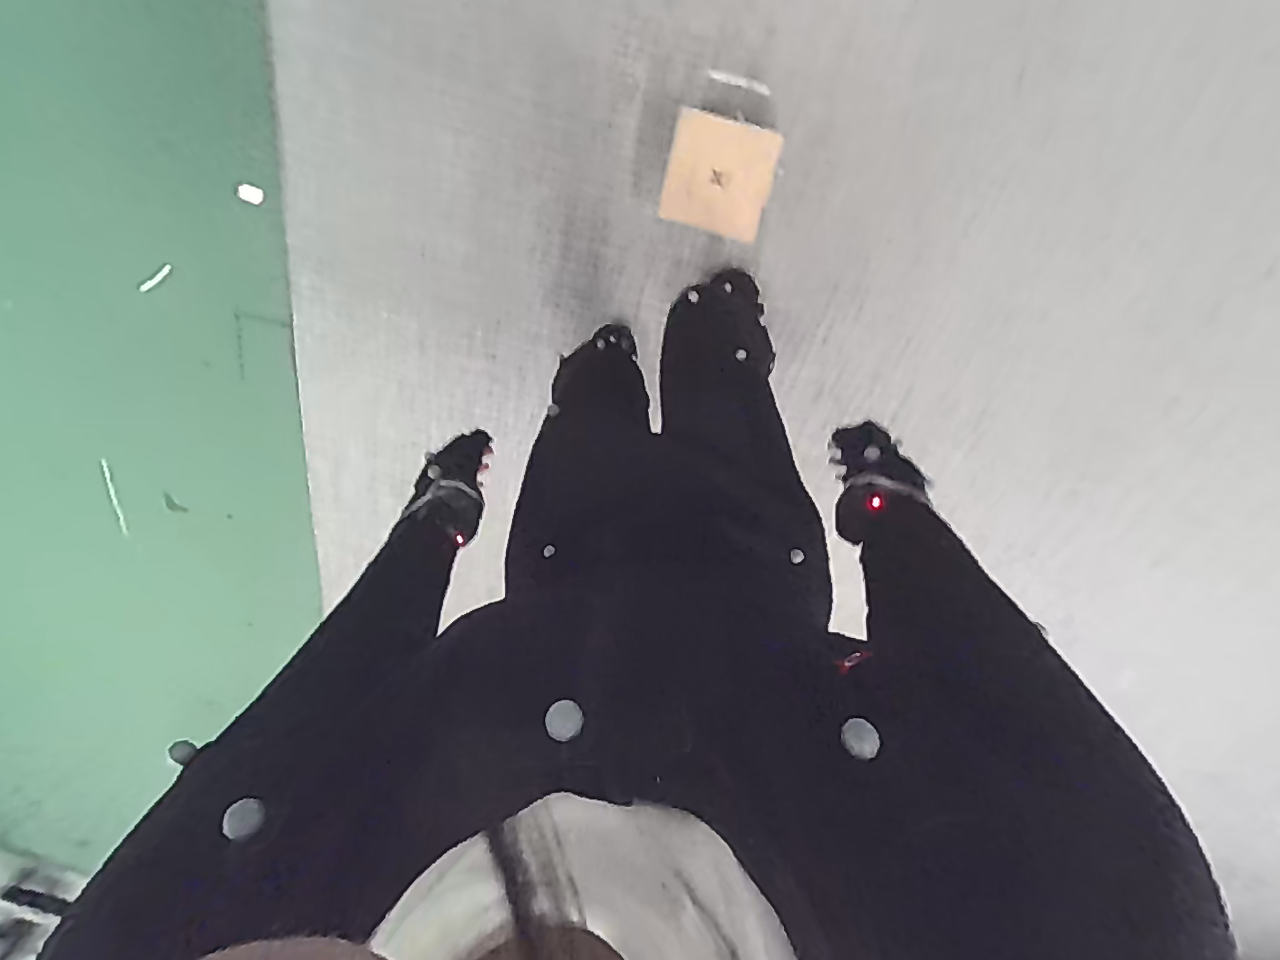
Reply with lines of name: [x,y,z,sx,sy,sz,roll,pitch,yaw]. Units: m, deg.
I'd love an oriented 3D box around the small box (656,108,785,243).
small box: [0.143,-0.544,0.969,0.179,0.176,0.168,17,121,1]
